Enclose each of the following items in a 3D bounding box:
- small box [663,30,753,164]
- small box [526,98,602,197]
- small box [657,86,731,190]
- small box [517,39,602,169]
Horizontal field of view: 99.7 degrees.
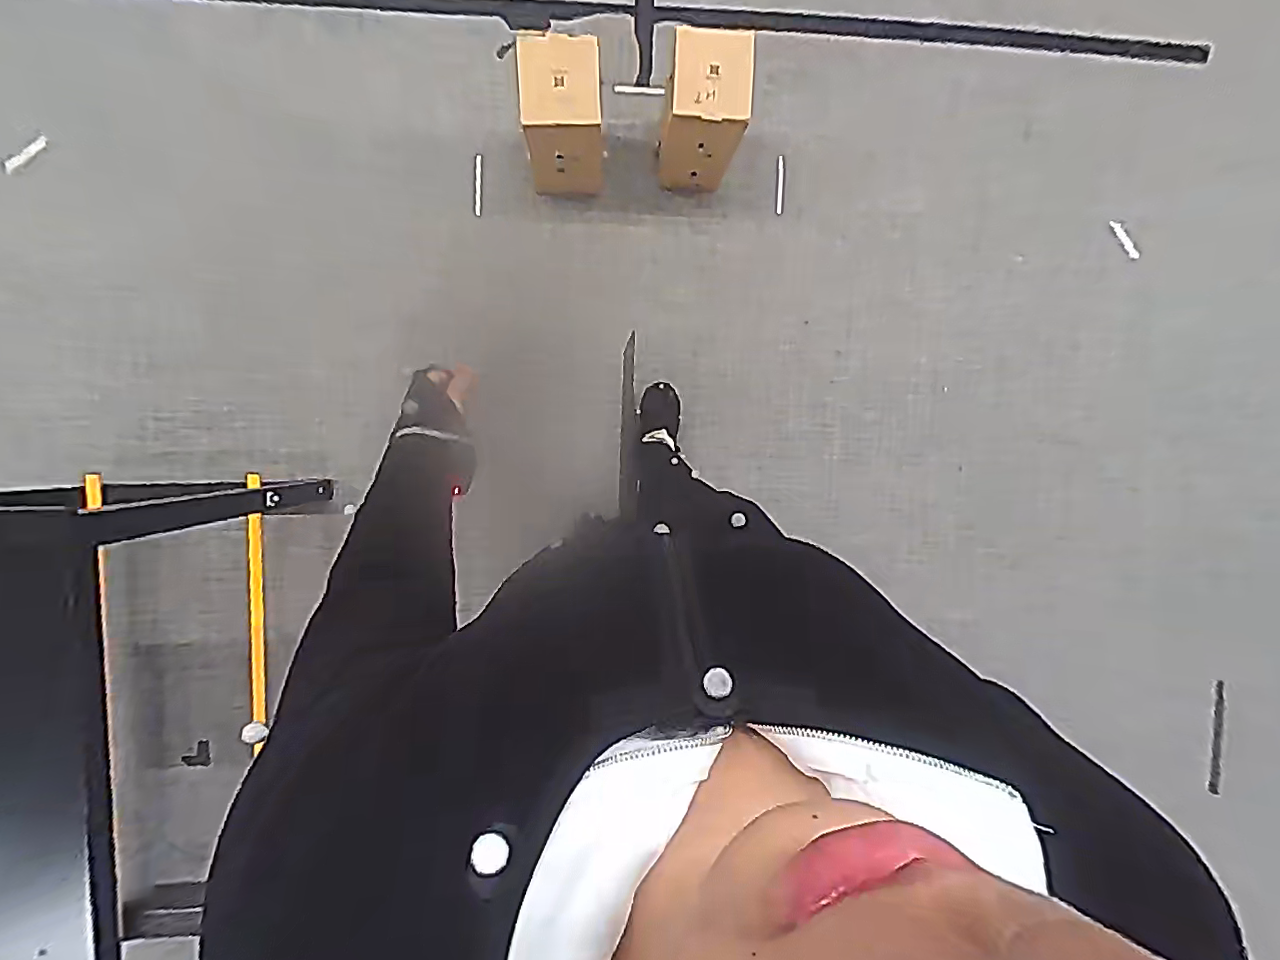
[{"bbox_3d":[0.143,-0.838,1.197,0.168,0.176,0.179,2,94,-4],"label":"small box"},{"bbox_3d":[-0.183,-0.823,1.339,0.179,0.176,0.168,-1,94,-4],"label":"small box"},{"bbox_3d":[0.135,-0.855,1.362,0.168,0.176,0.179,1,94,-4],"label":"small box"},{"bbox_3d":[-0.168,-0.810,1.178,0.168,0.176,0.179,-3,95,-2],"label":"small box"}]
